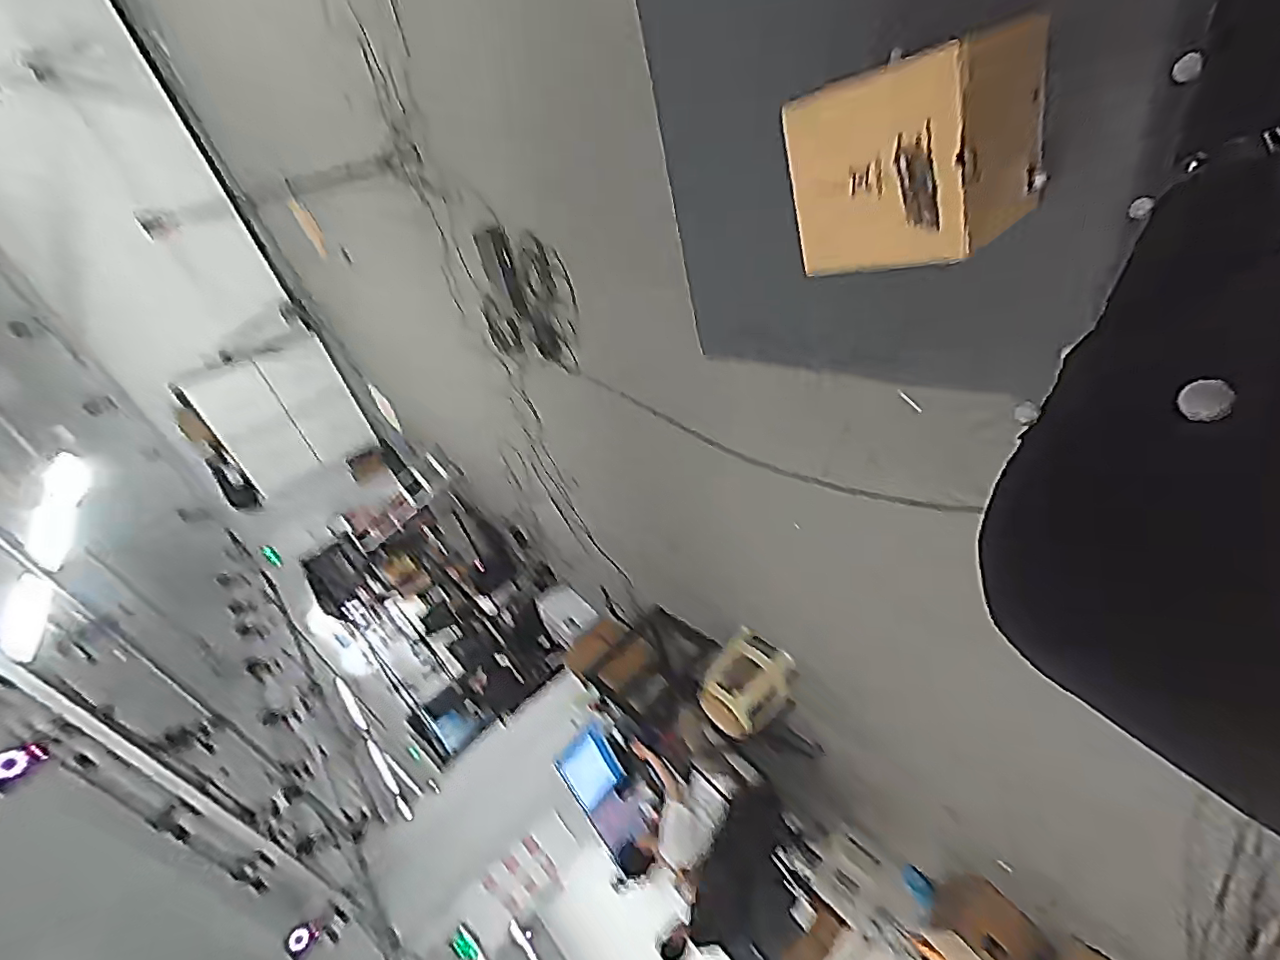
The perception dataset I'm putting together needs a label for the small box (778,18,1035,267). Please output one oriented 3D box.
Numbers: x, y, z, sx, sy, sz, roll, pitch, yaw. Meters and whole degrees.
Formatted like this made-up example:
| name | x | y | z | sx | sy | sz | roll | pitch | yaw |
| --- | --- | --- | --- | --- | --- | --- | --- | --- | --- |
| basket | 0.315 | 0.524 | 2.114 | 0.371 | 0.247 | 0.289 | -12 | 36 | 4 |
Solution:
| name | x | y | z | sx | sy | sz | roll | pitch | yaw |
| --- | --- | --- | --- | --- | --- | --- | --- | --- | --- |
| small box | 0.276 | -0.337 | 0.558 | 0.179 | 0.176 | 0.168 | 20 | 138 | 50 |
